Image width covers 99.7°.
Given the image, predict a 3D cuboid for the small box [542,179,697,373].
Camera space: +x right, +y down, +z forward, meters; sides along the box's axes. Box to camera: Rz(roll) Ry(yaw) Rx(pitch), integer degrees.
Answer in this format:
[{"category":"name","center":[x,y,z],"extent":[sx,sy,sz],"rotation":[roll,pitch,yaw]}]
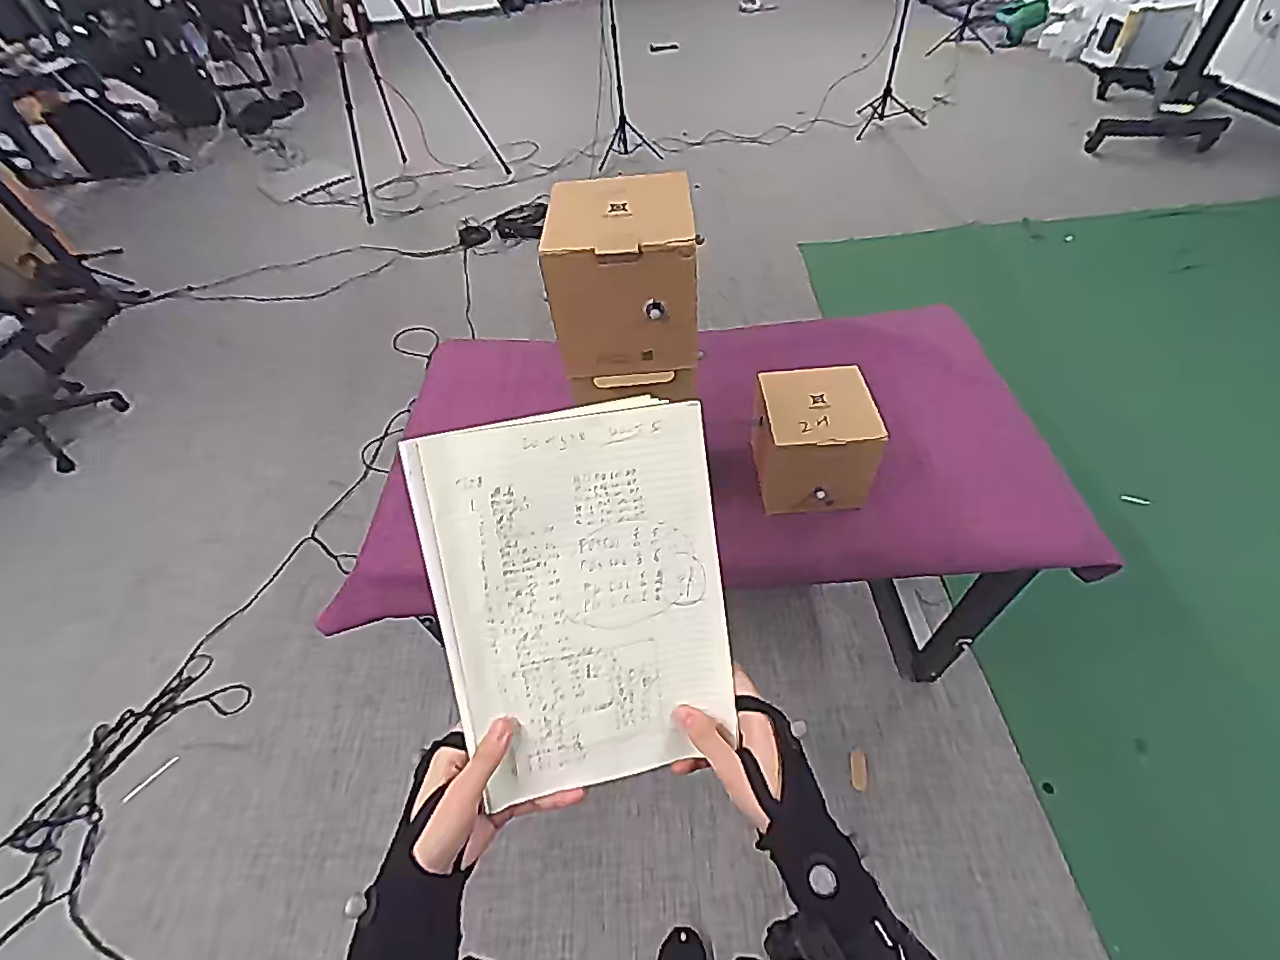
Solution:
[{"category":"small box","center":[-0.015,-0.247,0.675],"extent":[0.168,0.176,0.179],"rotation":[-2,50,4]}]

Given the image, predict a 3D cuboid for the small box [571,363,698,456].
[{"category":"small box","center":[-0.001,-0.147,0.803],"extent":[0.168,0.176,0.179],"rotation":[-3,49,4]}]

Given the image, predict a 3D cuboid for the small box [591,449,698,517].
[{"category":"small box","center":[0.013,-0.047,0.933],"extent":[0.168,0.176,0.179],"rotation":[-3,51,3]}]
